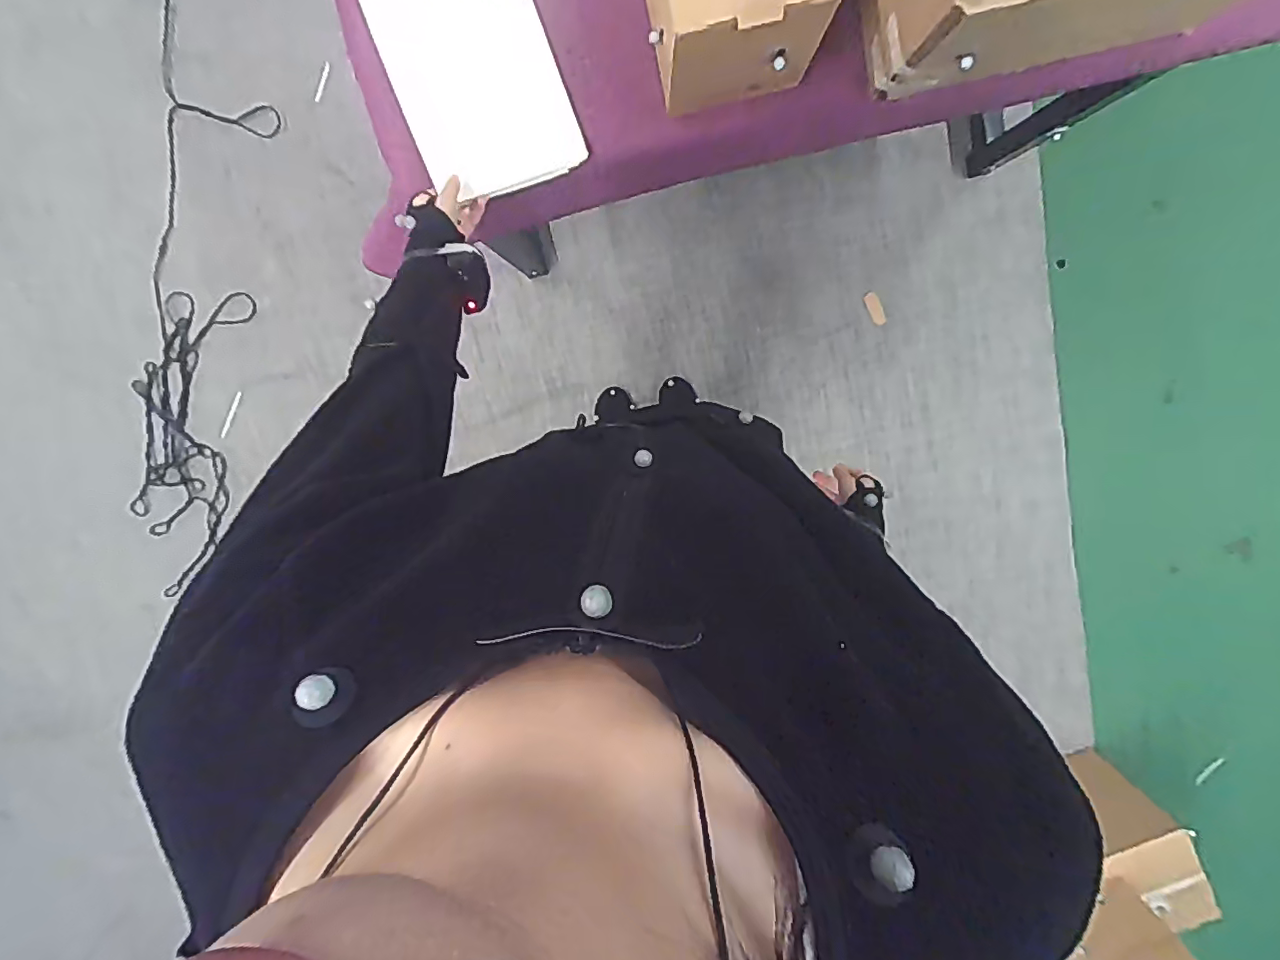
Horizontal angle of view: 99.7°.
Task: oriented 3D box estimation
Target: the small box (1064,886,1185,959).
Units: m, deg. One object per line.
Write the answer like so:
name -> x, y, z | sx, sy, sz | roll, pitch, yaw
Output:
small box -> 1.186, 1.153, 1.323 | 0.179, 0.176, 0.168 | -23, 100, 5

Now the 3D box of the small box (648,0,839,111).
small box -> 0.098, -0.532, 0.580 | 0.168, 0.176, 0.179 | -11, 99, 2

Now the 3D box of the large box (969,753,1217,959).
large box -> 1.272, 1.084, 1.559 | 0.408, 0.320, 0.320 | -27, 100, 5
